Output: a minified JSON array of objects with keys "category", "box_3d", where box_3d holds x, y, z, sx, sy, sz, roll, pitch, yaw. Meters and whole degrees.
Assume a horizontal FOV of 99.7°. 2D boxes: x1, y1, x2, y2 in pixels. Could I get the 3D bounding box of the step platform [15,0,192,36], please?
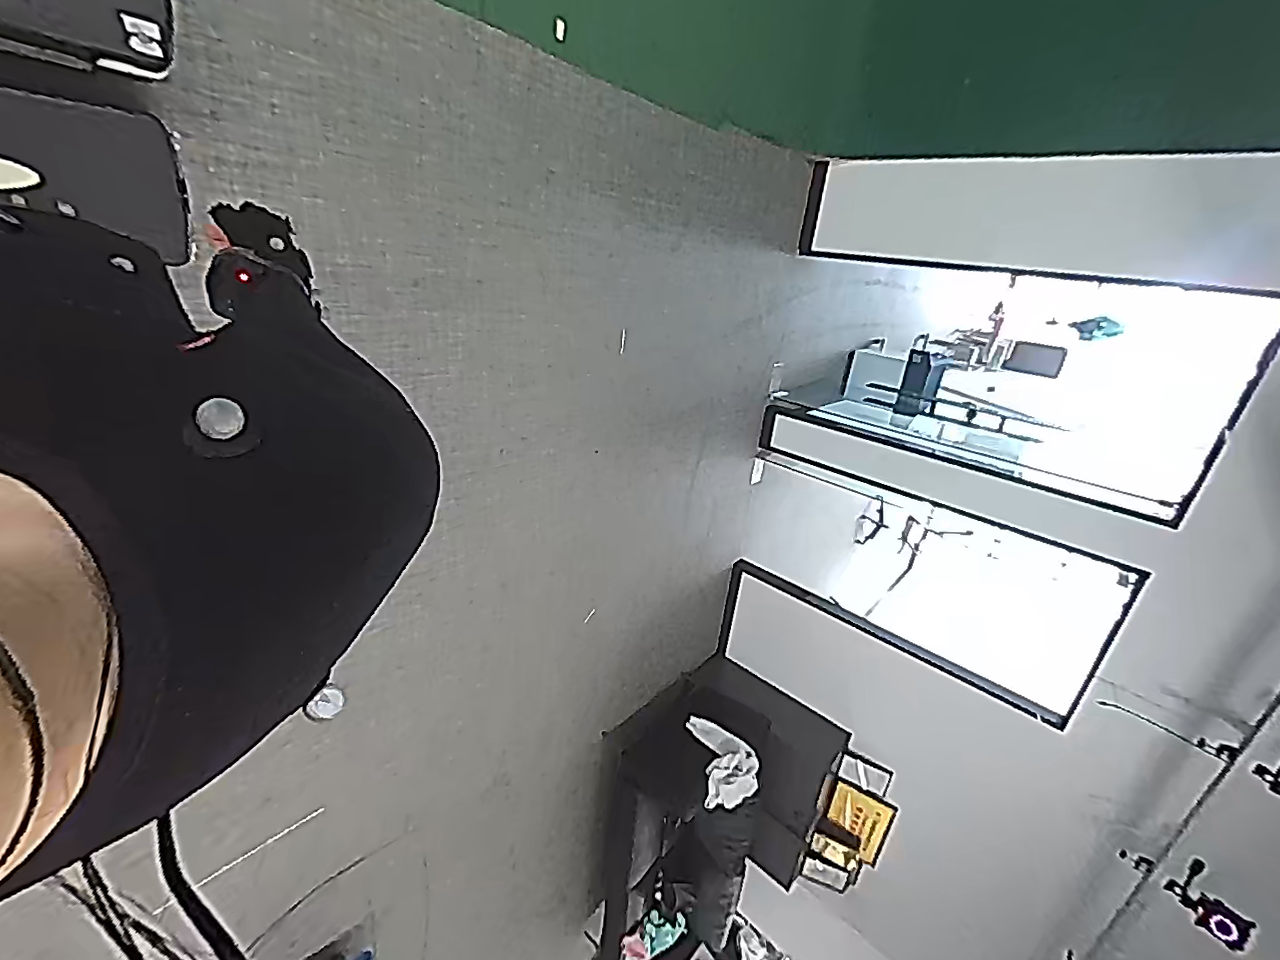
[{"category":"step platform","box_3d":[-0.939,-0.764,0.580,0.684,0.204,0.286,-18,124,-46]}]
